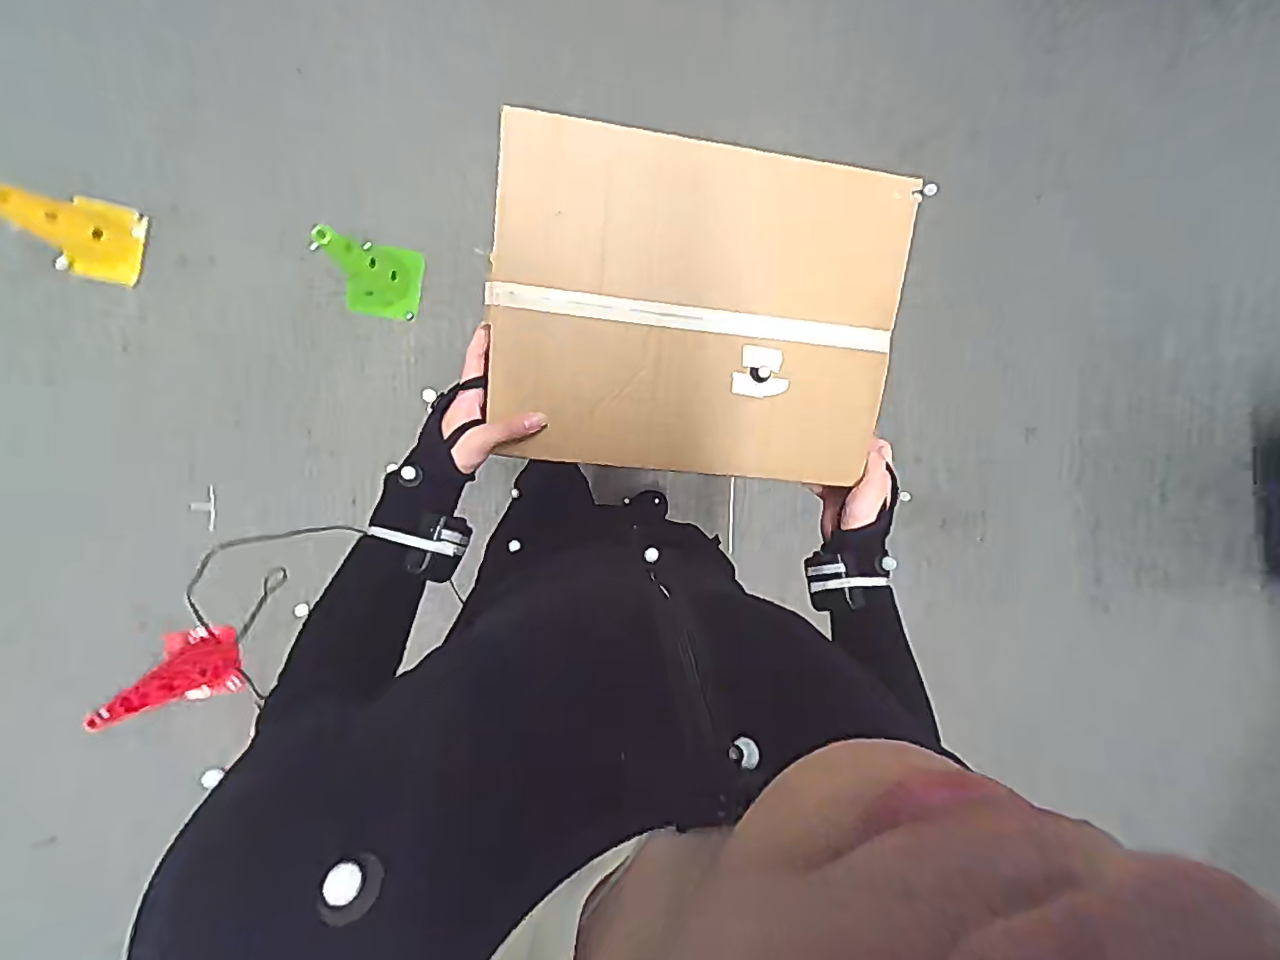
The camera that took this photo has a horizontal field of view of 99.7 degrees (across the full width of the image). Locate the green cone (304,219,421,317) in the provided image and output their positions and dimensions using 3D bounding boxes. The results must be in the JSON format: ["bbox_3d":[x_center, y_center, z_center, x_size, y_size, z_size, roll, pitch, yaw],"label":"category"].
[{"bbox_3d":[-0.724,-0.568,1.367,0.202,0.368,0.200,9,92,-3],"label":"green cone"}]

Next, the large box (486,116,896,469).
[{"bbox_3d":[0.029,-0.201,0.685,0.408,0.320,0.320,3,103,-9],"label":"large box"}]
